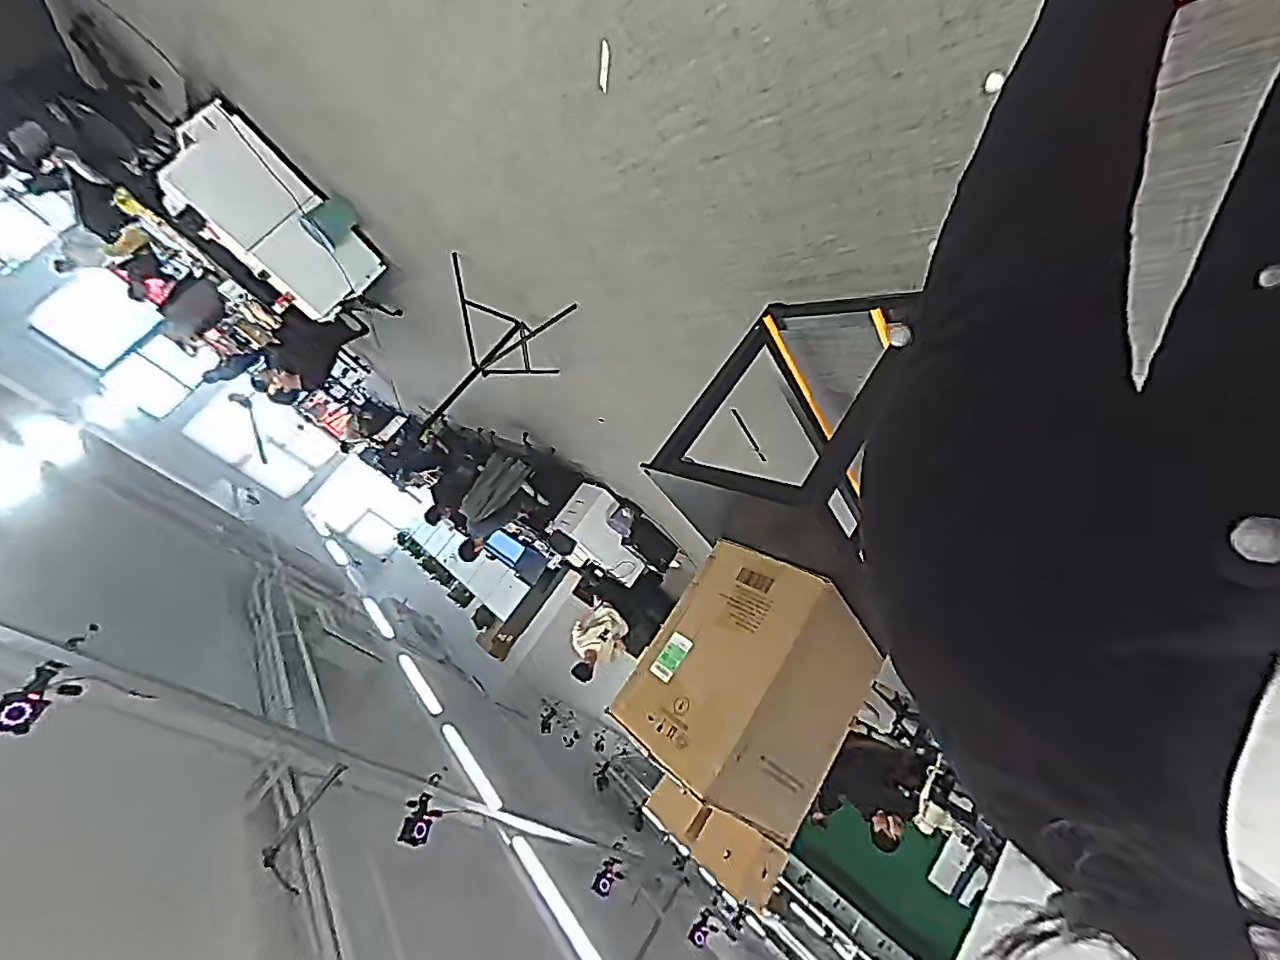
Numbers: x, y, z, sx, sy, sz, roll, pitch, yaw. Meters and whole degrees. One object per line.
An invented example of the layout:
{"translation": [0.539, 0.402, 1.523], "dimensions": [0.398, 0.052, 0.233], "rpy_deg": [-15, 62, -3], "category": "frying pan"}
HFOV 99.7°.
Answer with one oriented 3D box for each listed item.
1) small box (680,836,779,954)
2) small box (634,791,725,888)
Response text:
{"translation": [0.246, 1.098, 1.440], "dimensions": [0.179, 0.176, 0.168], "rpy_deg": [8, 145, 52], "category": "small box"}
{"translation": [0.123, 1.066, 1.603], "dimensions": [0.168, 0.176, 0.179], "rpy_deg": [19, 156, 50], "category": "small box"}
